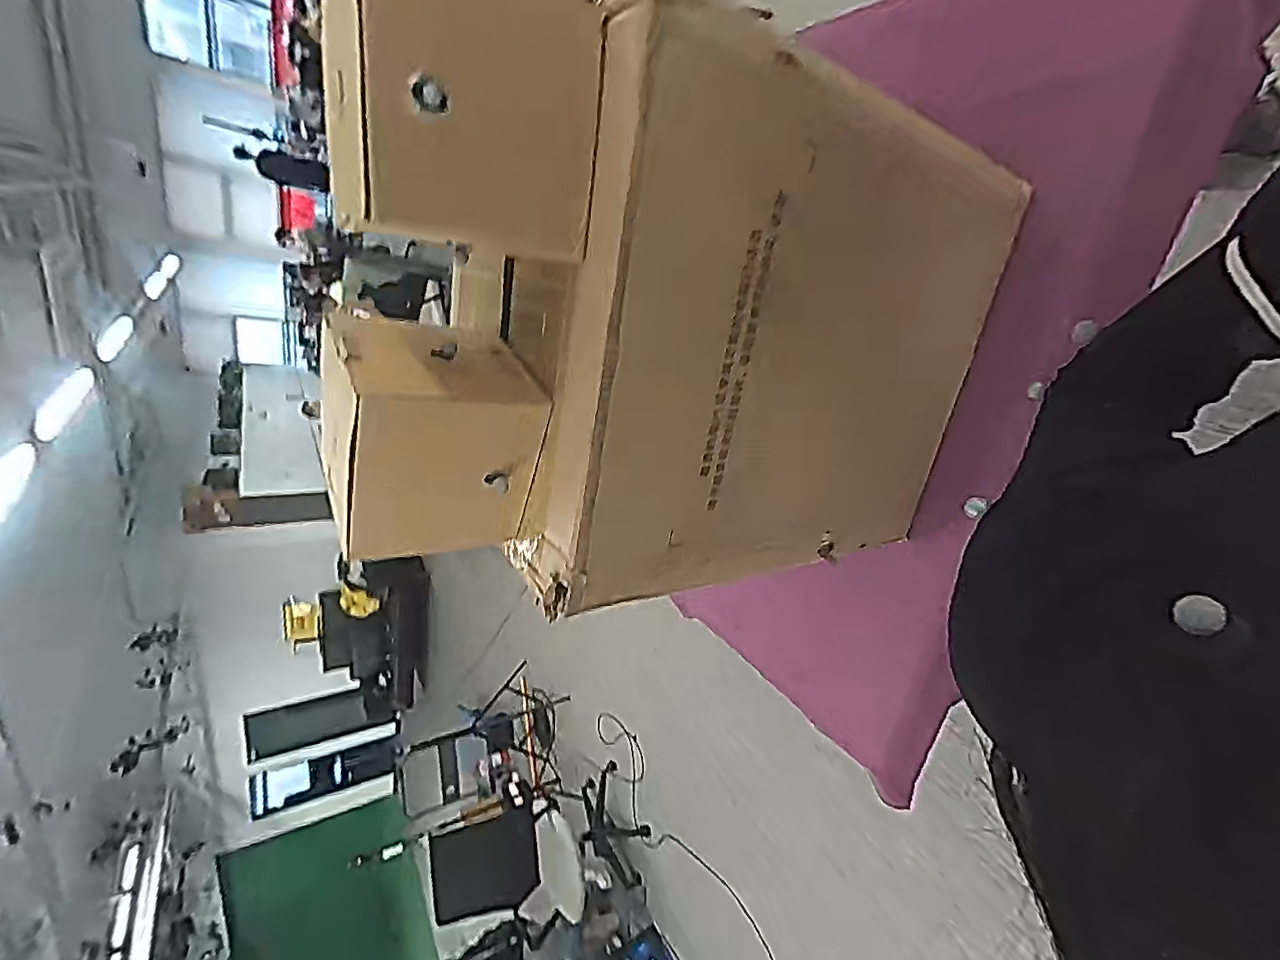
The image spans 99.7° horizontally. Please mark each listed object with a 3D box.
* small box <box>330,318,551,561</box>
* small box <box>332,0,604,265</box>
[{"bbox_3d":[-0.208,-0.043,0.557,0.168,0.176,0.179,49,130,40],"label":"small box"},{"bbox_3d":[-0.143,-0.279,0.441,0.168,0.176,0.179,32,120,50],"label":"small box"}]
